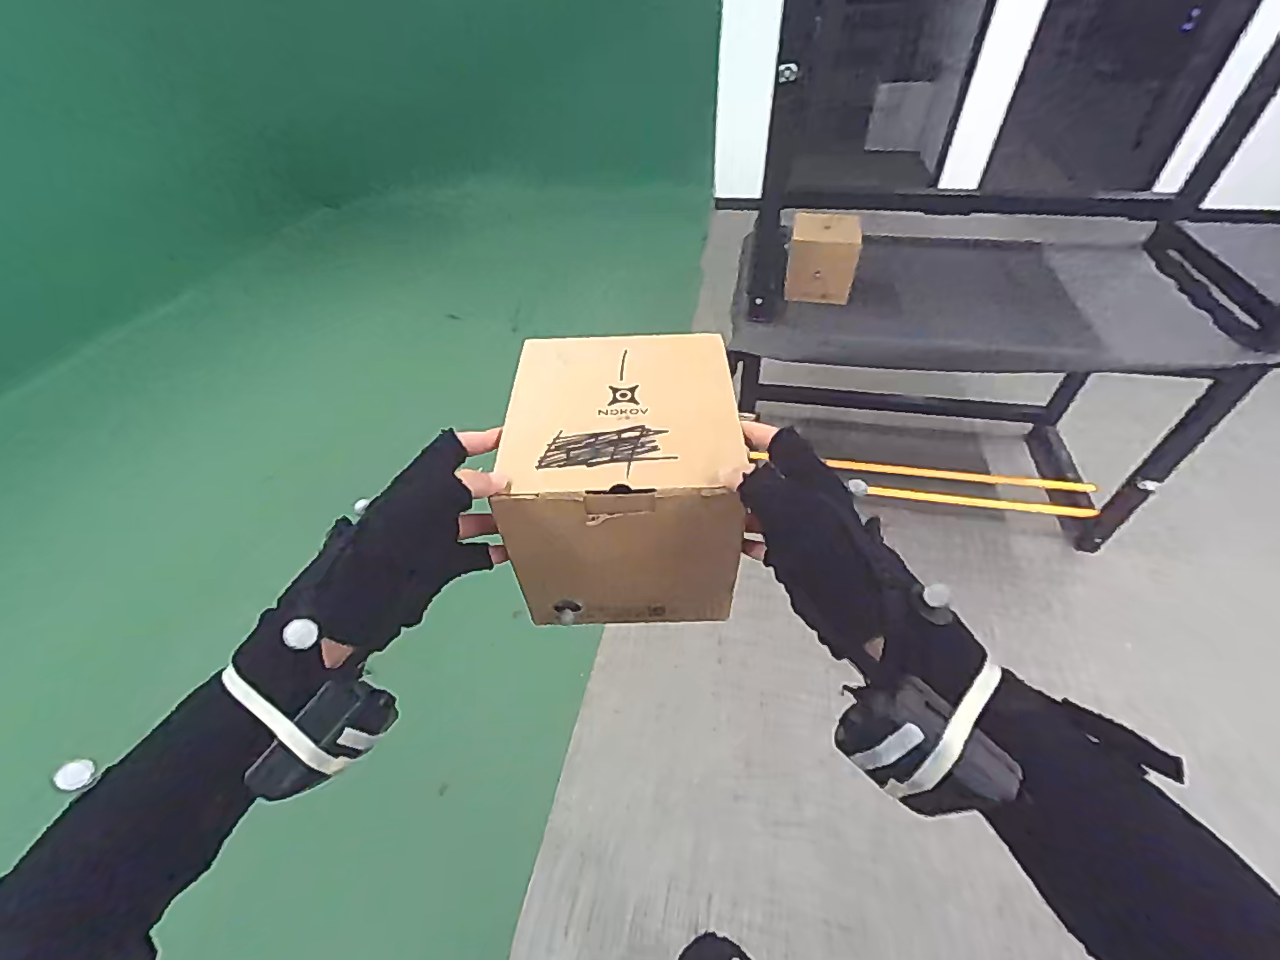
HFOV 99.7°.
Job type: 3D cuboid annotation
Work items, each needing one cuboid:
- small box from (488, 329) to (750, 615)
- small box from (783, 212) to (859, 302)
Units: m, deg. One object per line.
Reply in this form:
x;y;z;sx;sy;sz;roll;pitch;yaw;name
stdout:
-0.009;-0.002;0.442;0.168;0.176;0.179;-1;47;1;small box
0.478;-0.593;1.440;0.168;0.176;0.179;9;47;11;small box
